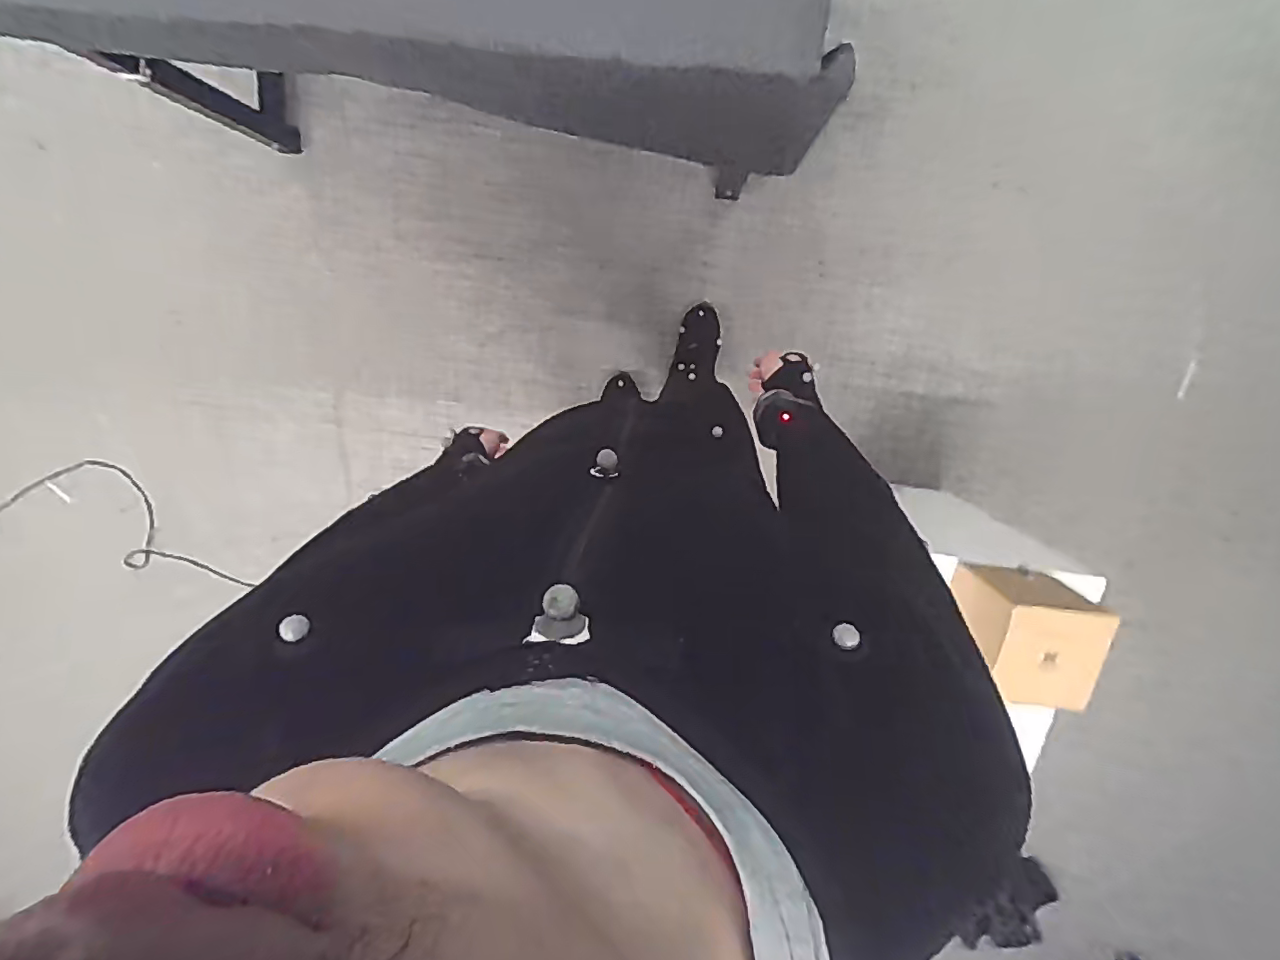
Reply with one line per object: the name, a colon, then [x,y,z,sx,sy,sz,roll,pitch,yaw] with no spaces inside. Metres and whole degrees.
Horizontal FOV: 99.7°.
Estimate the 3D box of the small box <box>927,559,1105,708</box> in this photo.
small box: [0.622,0.254,0.923,0.168,0.176,0.179,6,105,-2]
